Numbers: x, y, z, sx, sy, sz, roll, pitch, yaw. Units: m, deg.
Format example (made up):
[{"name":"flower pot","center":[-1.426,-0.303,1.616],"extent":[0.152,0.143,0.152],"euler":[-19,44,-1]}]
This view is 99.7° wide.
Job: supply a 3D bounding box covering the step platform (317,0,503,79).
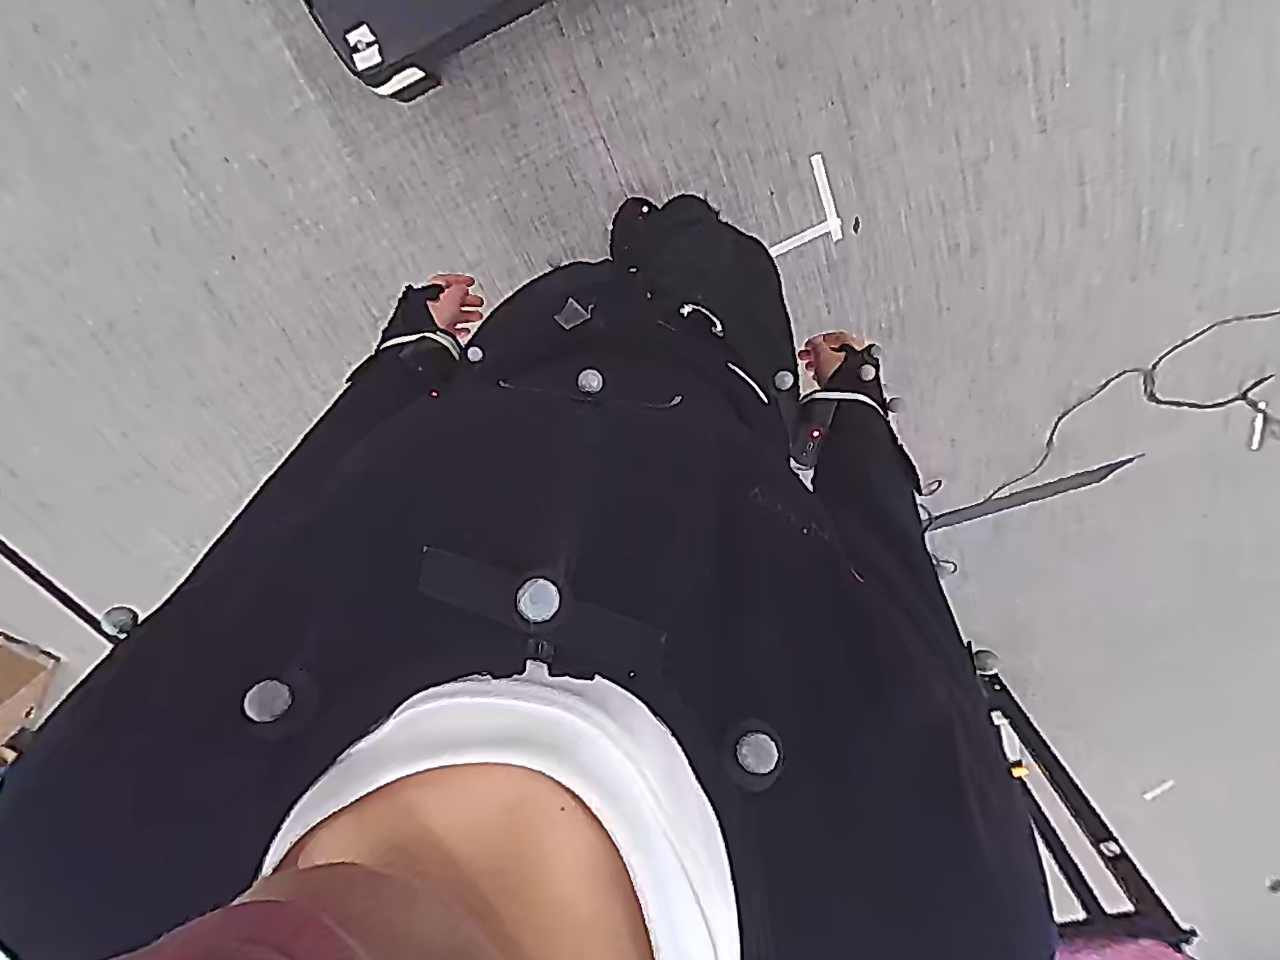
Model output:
[{"name":"step platform","center":[-0.216,-0.929,0.834],"extent":[0.684,0.204,0.286],"euler":[-19,117,11]}]
